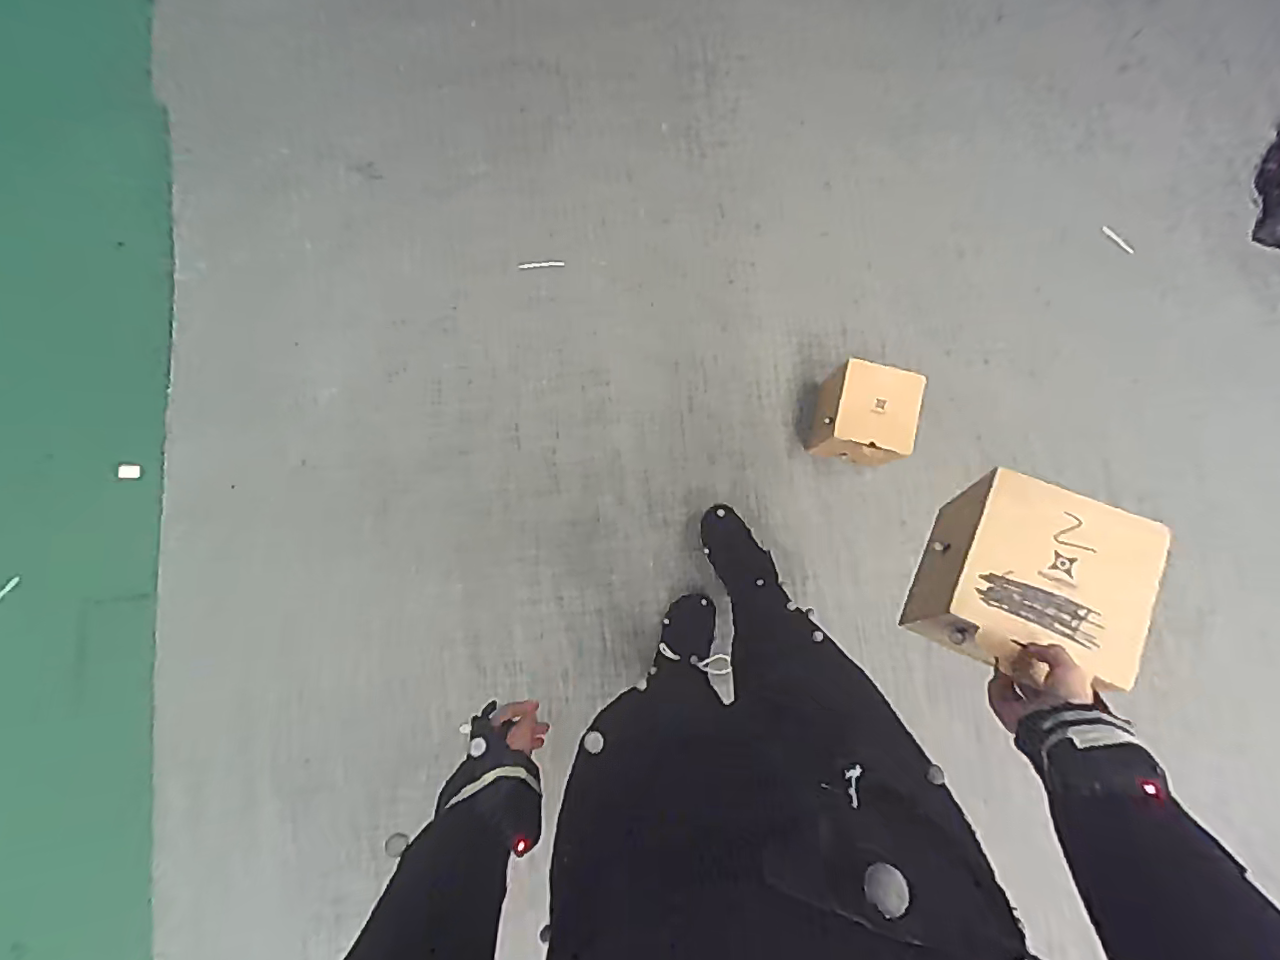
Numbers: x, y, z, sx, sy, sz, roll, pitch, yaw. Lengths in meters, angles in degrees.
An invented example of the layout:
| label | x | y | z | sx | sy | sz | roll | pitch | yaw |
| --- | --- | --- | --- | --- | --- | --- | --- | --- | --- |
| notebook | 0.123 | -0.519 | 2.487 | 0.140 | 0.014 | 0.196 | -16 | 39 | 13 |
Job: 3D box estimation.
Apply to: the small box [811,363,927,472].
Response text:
| label | x | y | z | sx | sy | sz | roll | pitch | yaw |
| --- | --- | --- | --- | --- | --- | --- | --- | --- | --- |
| small box | 0.489 | -0.129 | 1.176 | 0.168 | 0.176 | 0.179 | 14 | 83 | 0 |
